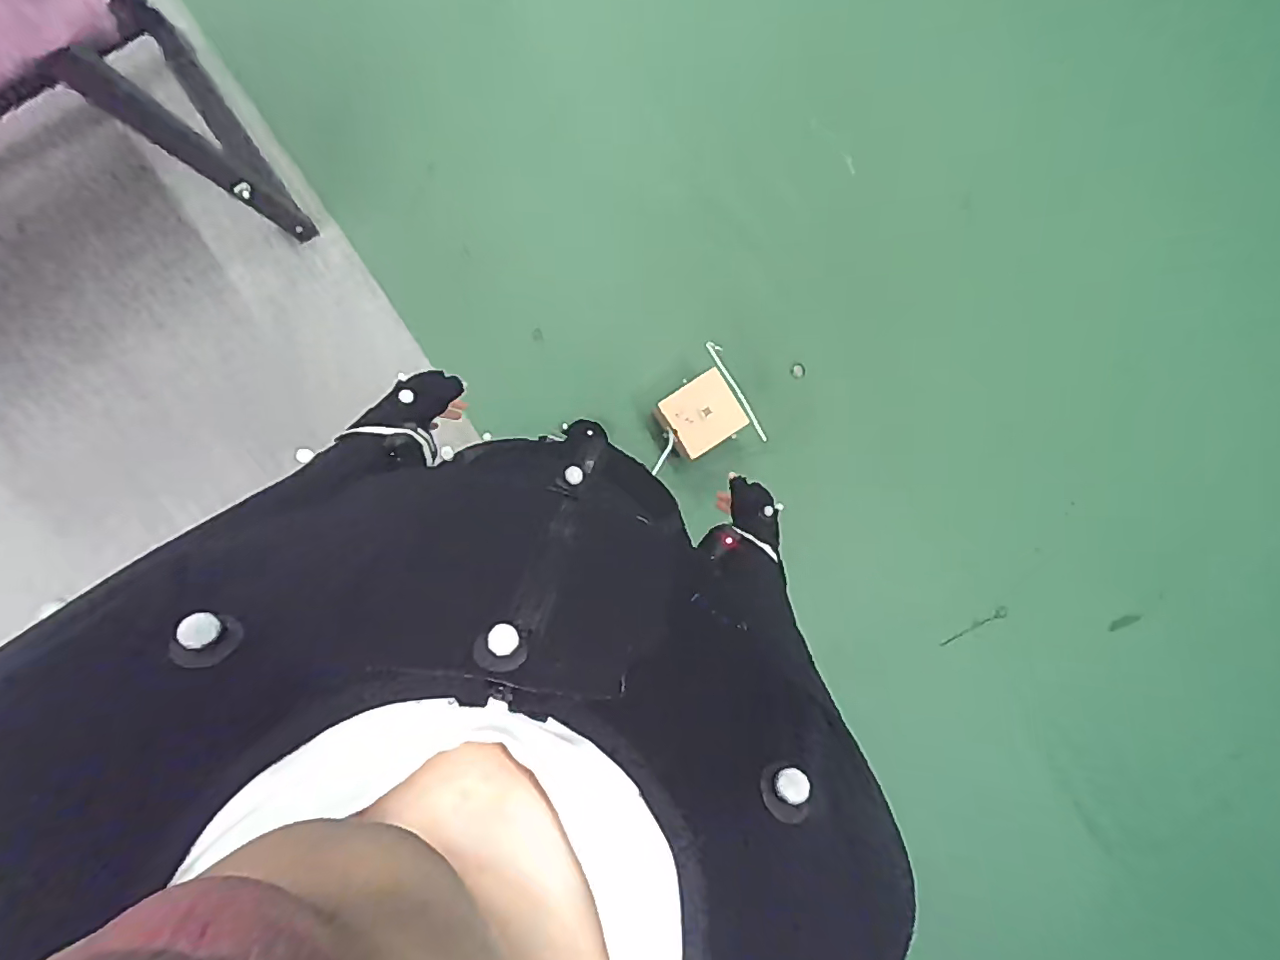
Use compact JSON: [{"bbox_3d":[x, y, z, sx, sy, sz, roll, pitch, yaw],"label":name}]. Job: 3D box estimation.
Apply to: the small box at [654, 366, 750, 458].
[{"bbox_3d":[0.153,-0.172,1.401,0.179,0.176,0.168,-32,95,-2],"label":"small box"}]
